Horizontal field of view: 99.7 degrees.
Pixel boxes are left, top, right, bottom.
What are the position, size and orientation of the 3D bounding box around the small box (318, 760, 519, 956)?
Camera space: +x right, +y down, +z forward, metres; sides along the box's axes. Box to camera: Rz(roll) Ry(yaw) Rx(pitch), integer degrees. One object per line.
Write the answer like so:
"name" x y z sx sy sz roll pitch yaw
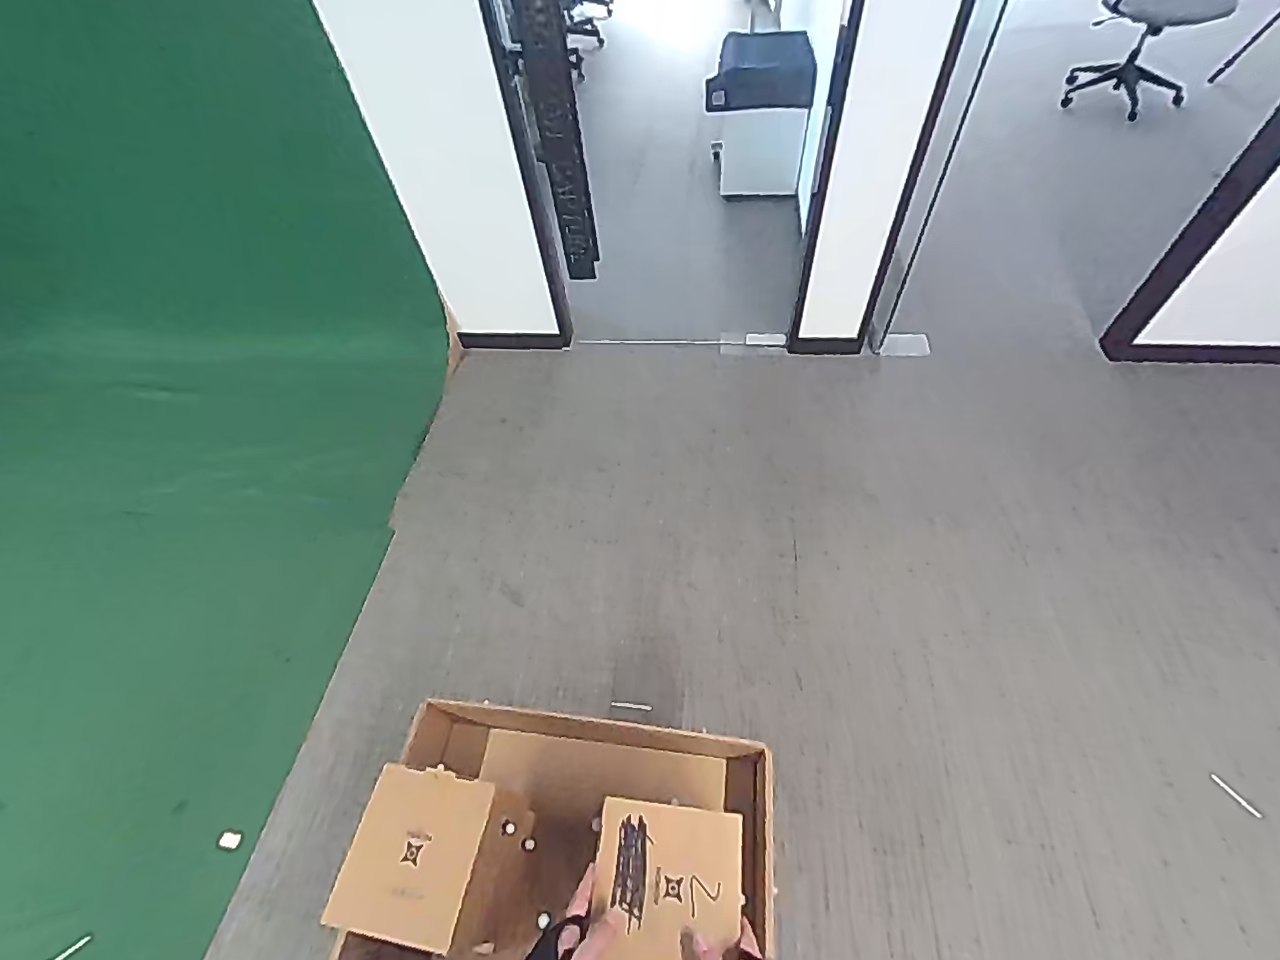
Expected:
"small box" -0.277 0.503 0.729 0.168 0.176 0.179 6 53 11
